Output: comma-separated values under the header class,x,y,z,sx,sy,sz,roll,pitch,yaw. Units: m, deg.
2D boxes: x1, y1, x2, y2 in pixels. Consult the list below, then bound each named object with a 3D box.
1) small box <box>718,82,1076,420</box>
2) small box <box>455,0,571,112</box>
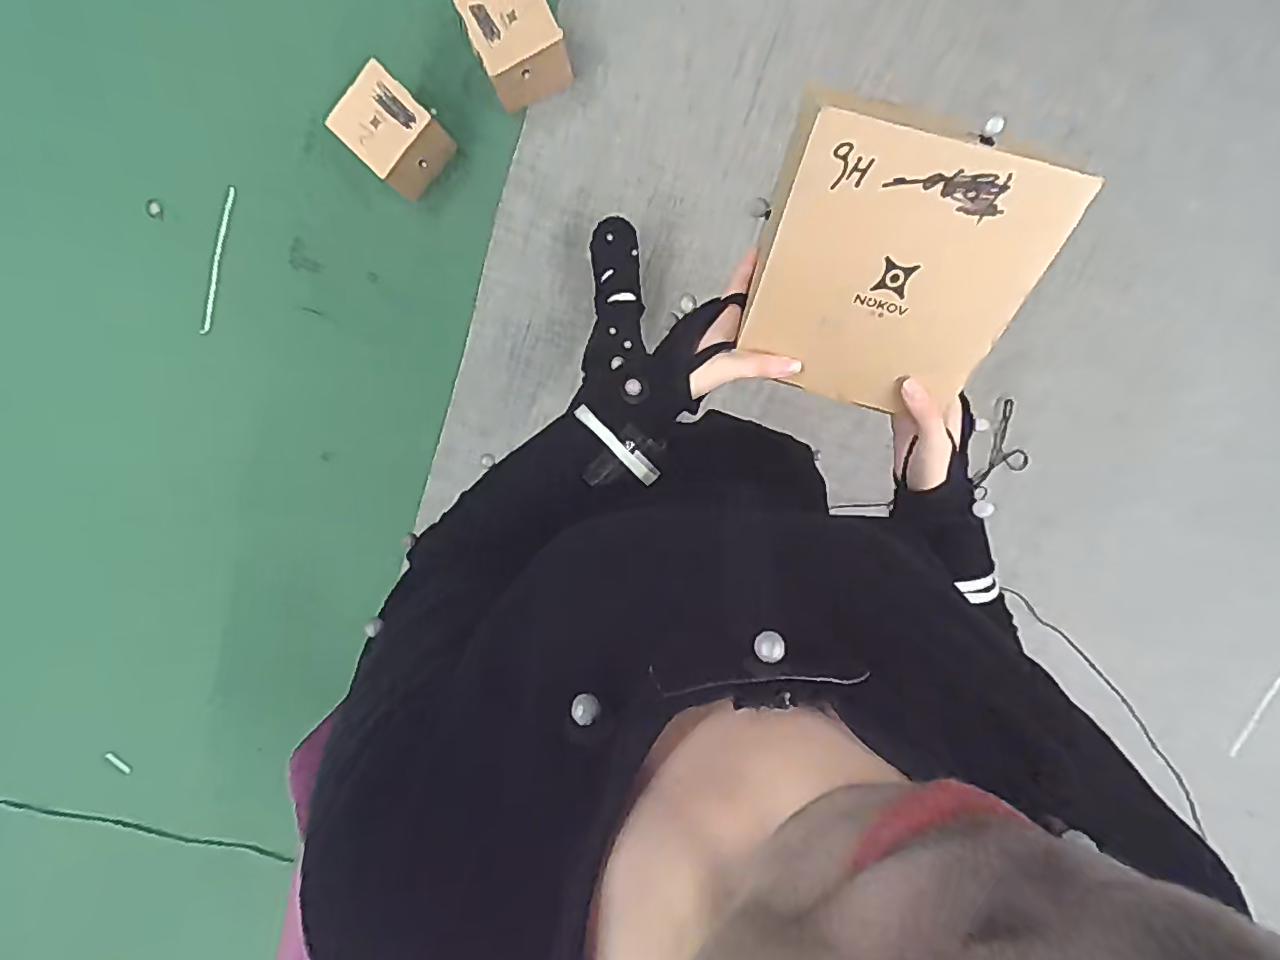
class,x,y,z,sx,sy,sz,roll,pitch,yaw
small box,0.171,-0.181,0.422,0.168,0.176,0.179,16,132,1
small box,-0.270,-0.965,1.198,0.179,0.176,0.168,-24,100,5
